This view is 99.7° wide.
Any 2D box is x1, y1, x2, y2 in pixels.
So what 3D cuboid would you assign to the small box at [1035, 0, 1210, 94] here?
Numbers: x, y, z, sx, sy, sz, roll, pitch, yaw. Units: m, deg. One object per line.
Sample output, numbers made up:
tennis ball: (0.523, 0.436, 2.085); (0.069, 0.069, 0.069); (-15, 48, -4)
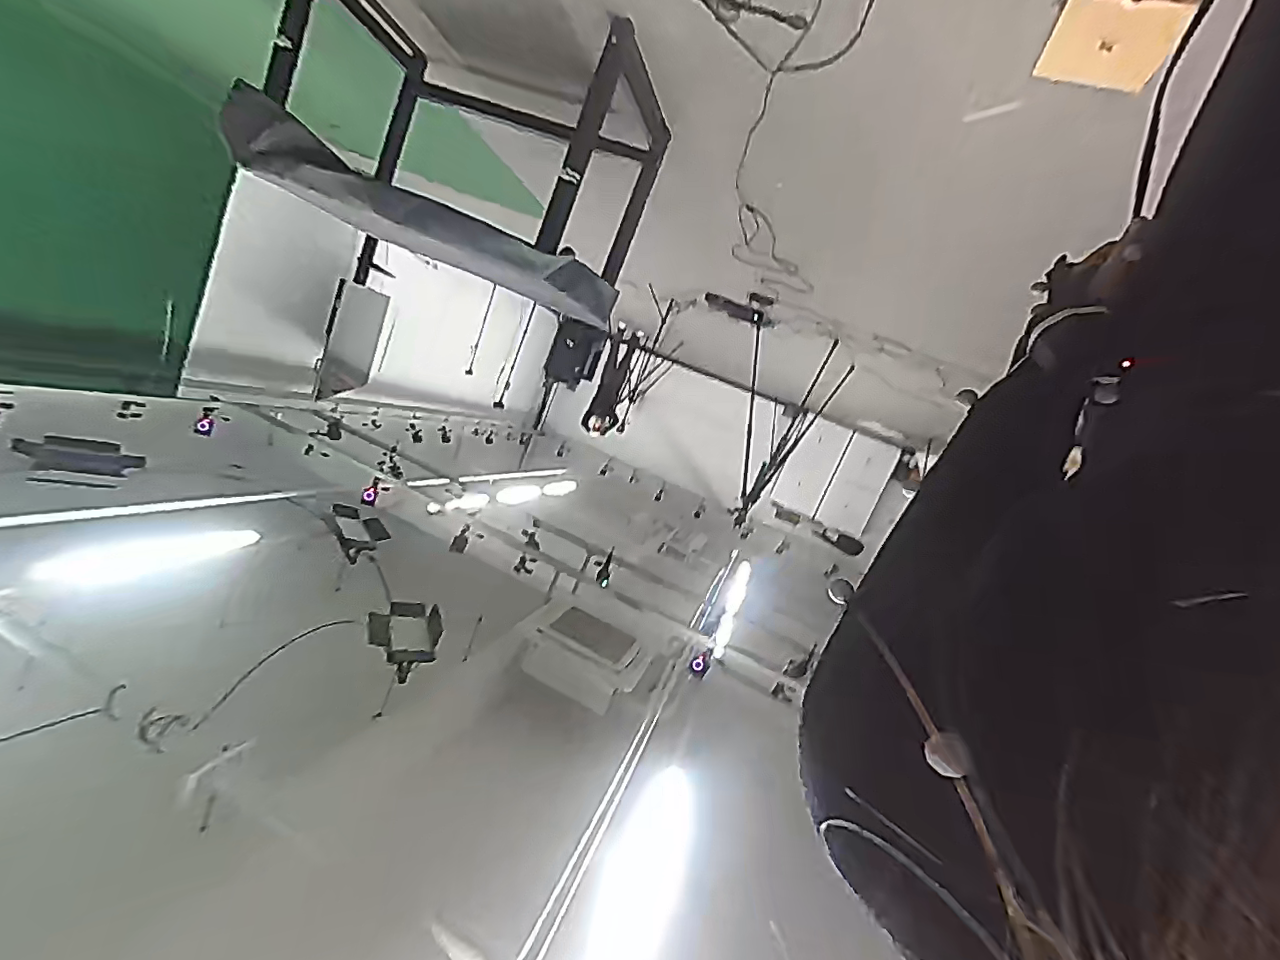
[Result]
small box: (0.758, -0.744, 0.821); (0.168, 0.176, 0.179); (26, -172, 17)
